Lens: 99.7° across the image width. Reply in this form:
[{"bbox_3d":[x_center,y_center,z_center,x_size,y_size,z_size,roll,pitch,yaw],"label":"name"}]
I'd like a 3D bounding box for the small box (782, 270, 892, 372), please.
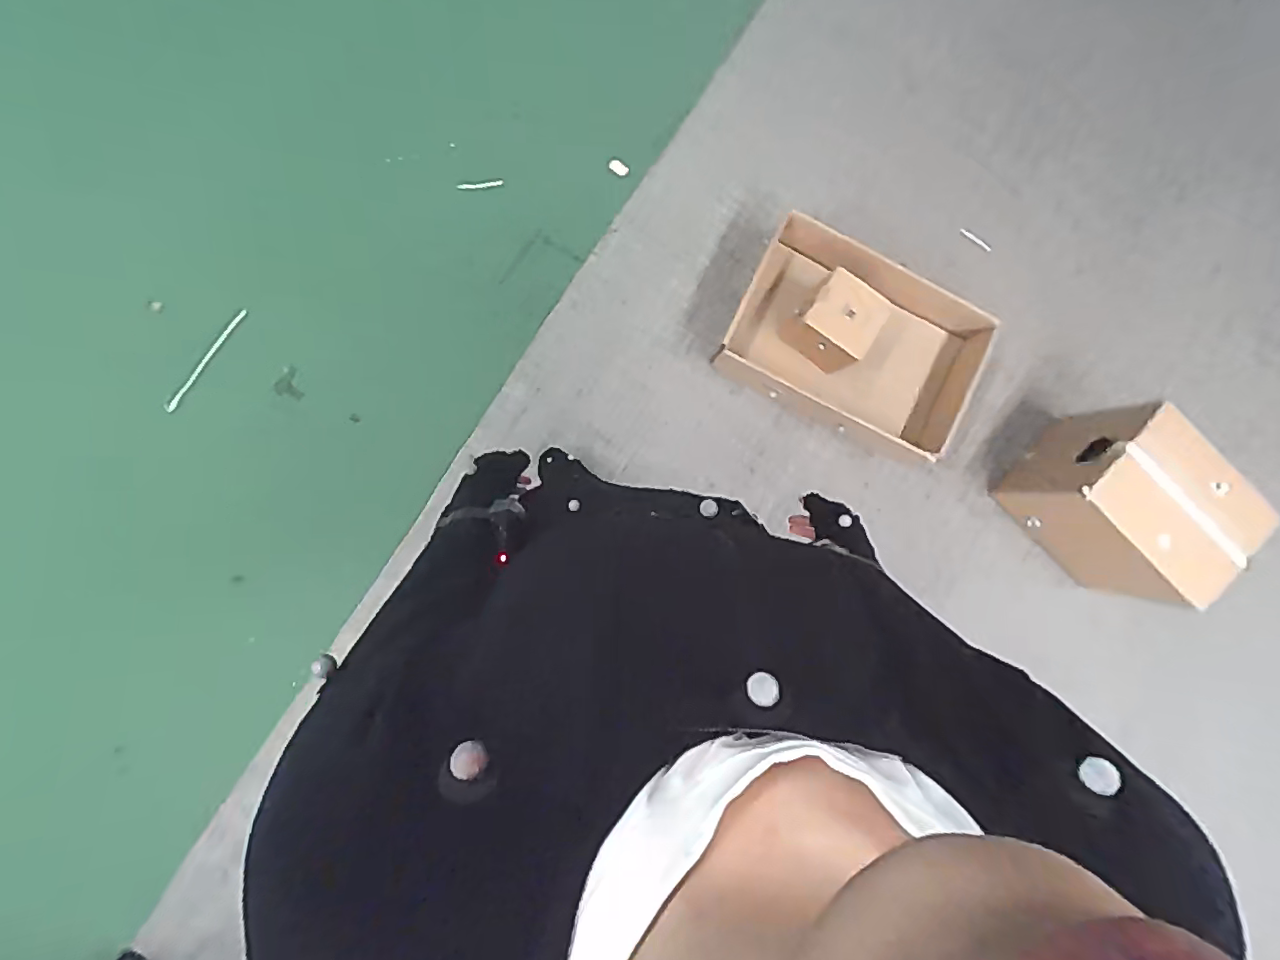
[{"bbox_3d":[0.497,-0.398,1.393,0.179,0.176,0.168,34,87,-5],"label":"small box"}]
